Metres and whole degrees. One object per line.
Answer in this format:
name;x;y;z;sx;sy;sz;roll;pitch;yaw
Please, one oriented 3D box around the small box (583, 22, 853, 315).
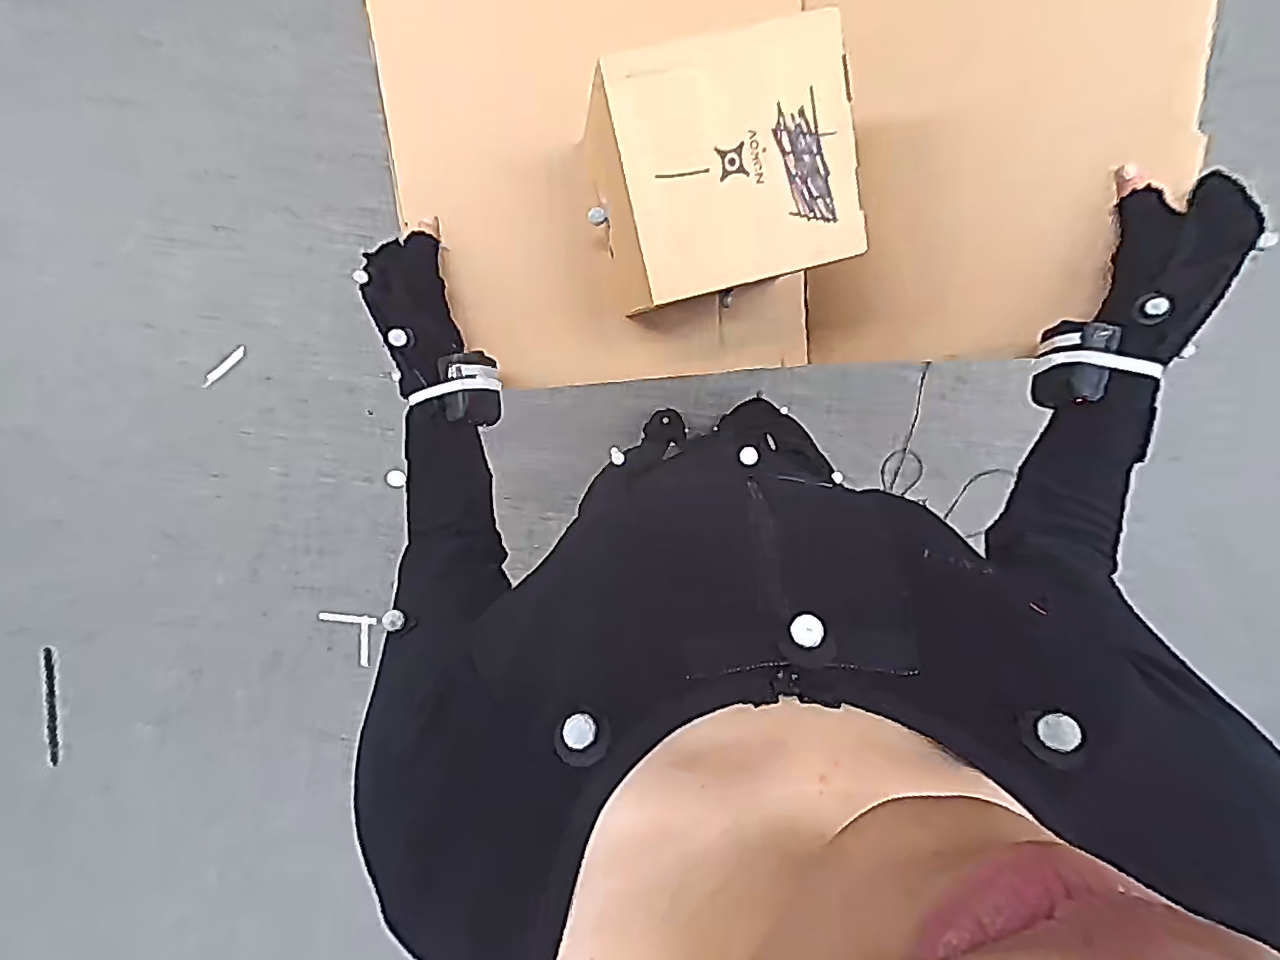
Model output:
small box;0.057;-0.250;0.478;0.179;0.176;0.168;-16;106;-5
